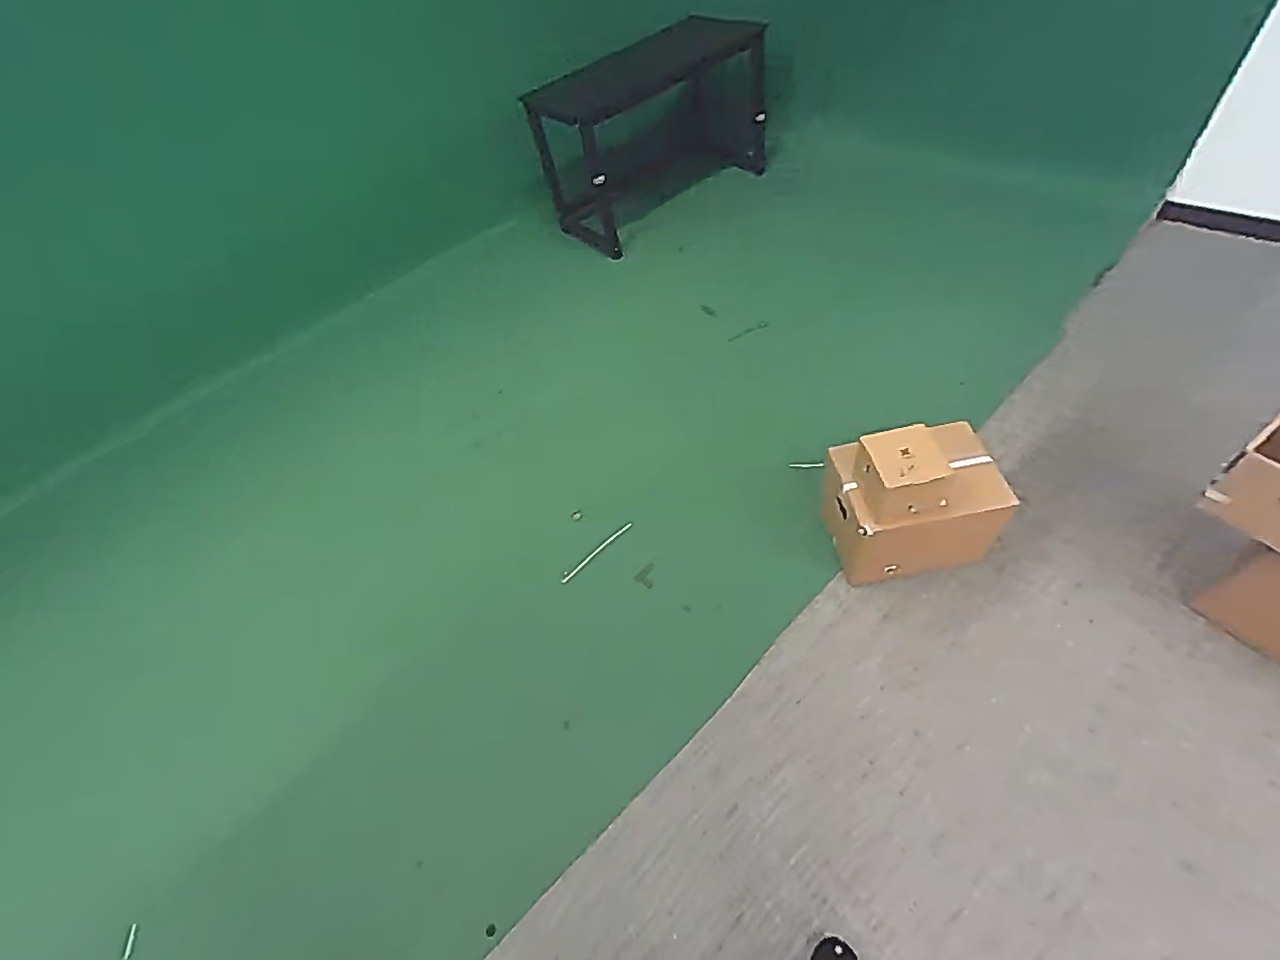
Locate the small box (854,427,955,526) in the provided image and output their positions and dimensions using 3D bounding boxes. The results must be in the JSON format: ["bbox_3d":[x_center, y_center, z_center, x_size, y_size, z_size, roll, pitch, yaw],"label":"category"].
[{"bbox_3d":[0.677,-0.007,1.410,0.168,0.176,0.179,-12,52,3],"label":"small box"}]
